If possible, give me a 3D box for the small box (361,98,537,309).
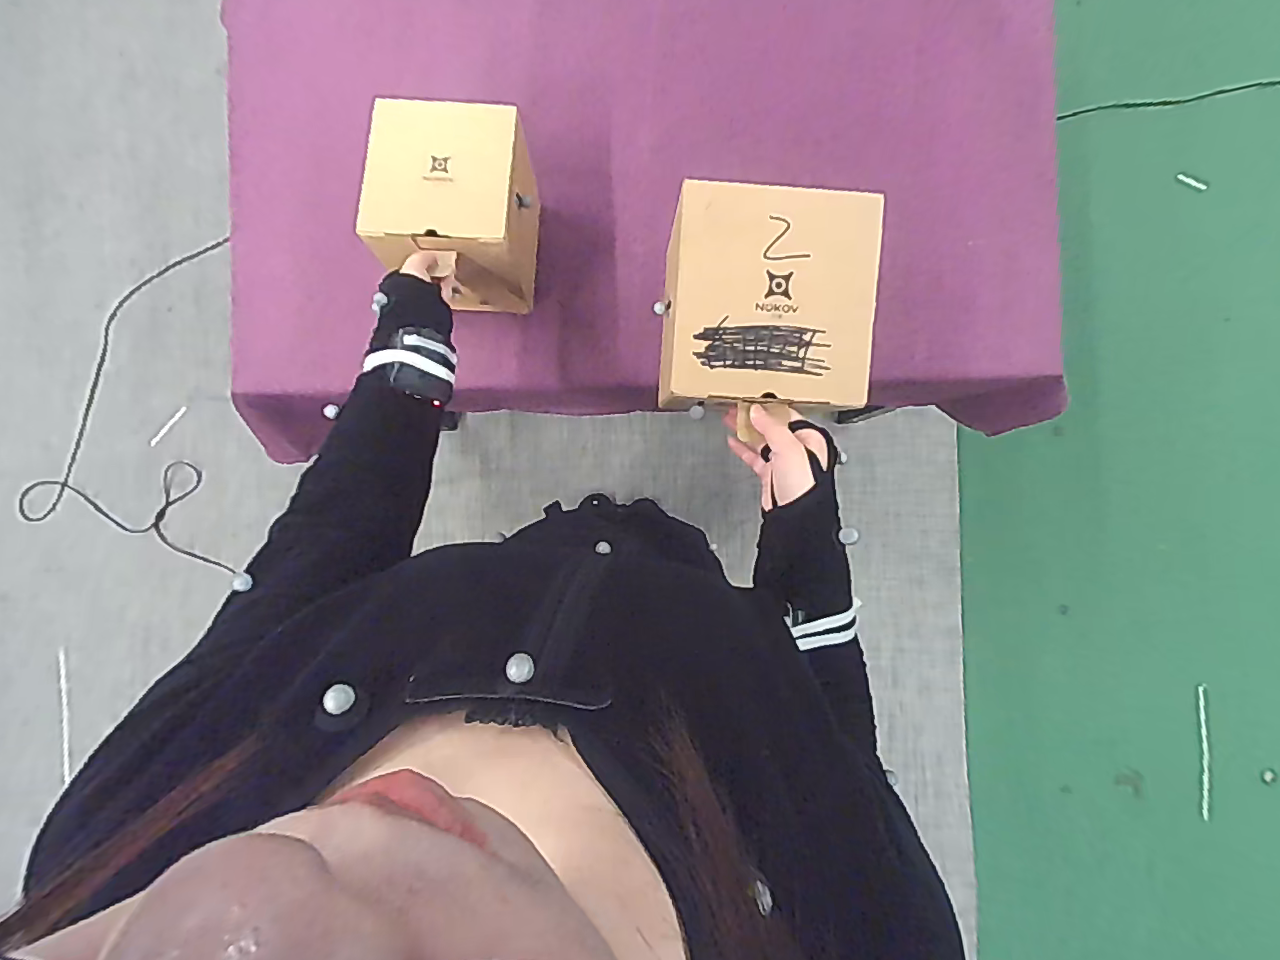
[{"bbox_3d":[-0.231,-0.347,0.702,0.168,0.176,0.179,3,81,-1],"label":"small box"}]
